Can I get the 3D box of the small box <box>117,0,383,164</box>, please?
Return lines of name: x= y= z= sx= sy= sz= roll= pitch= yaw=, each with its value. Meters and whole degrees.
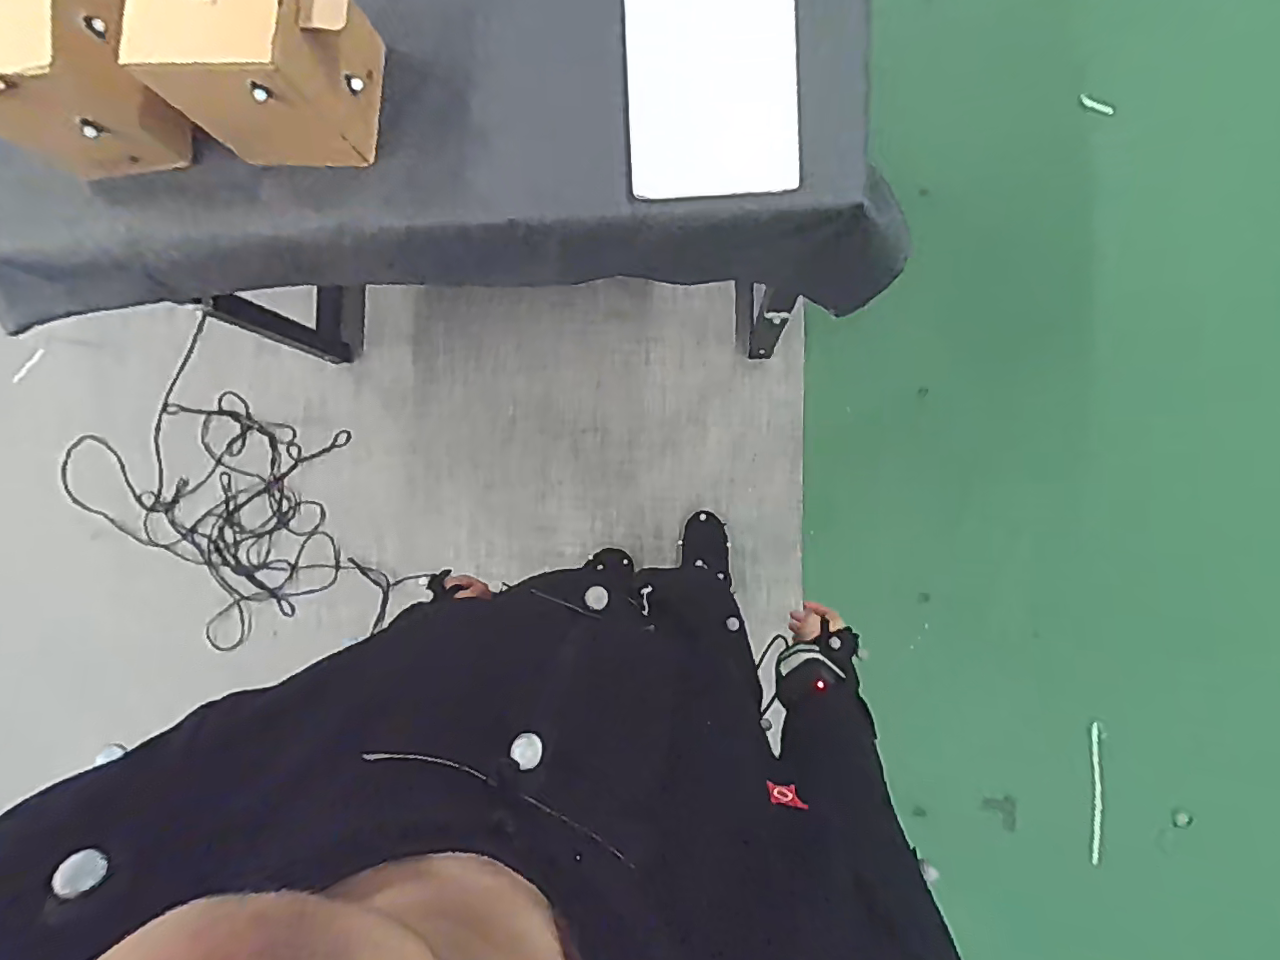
small box: x=-0.432 y=-0.495 z=0.625 sx=0.179 sy=0.176 sz=0.168 roll=4 pitch=87 yaw=6

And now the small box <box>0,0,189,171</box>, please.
small box: x=-0.690 y=-0.503 z=0.652 sx=0.168 sy=0.176 sz=0.179 roll=-5 pitch=86 yaw=5
